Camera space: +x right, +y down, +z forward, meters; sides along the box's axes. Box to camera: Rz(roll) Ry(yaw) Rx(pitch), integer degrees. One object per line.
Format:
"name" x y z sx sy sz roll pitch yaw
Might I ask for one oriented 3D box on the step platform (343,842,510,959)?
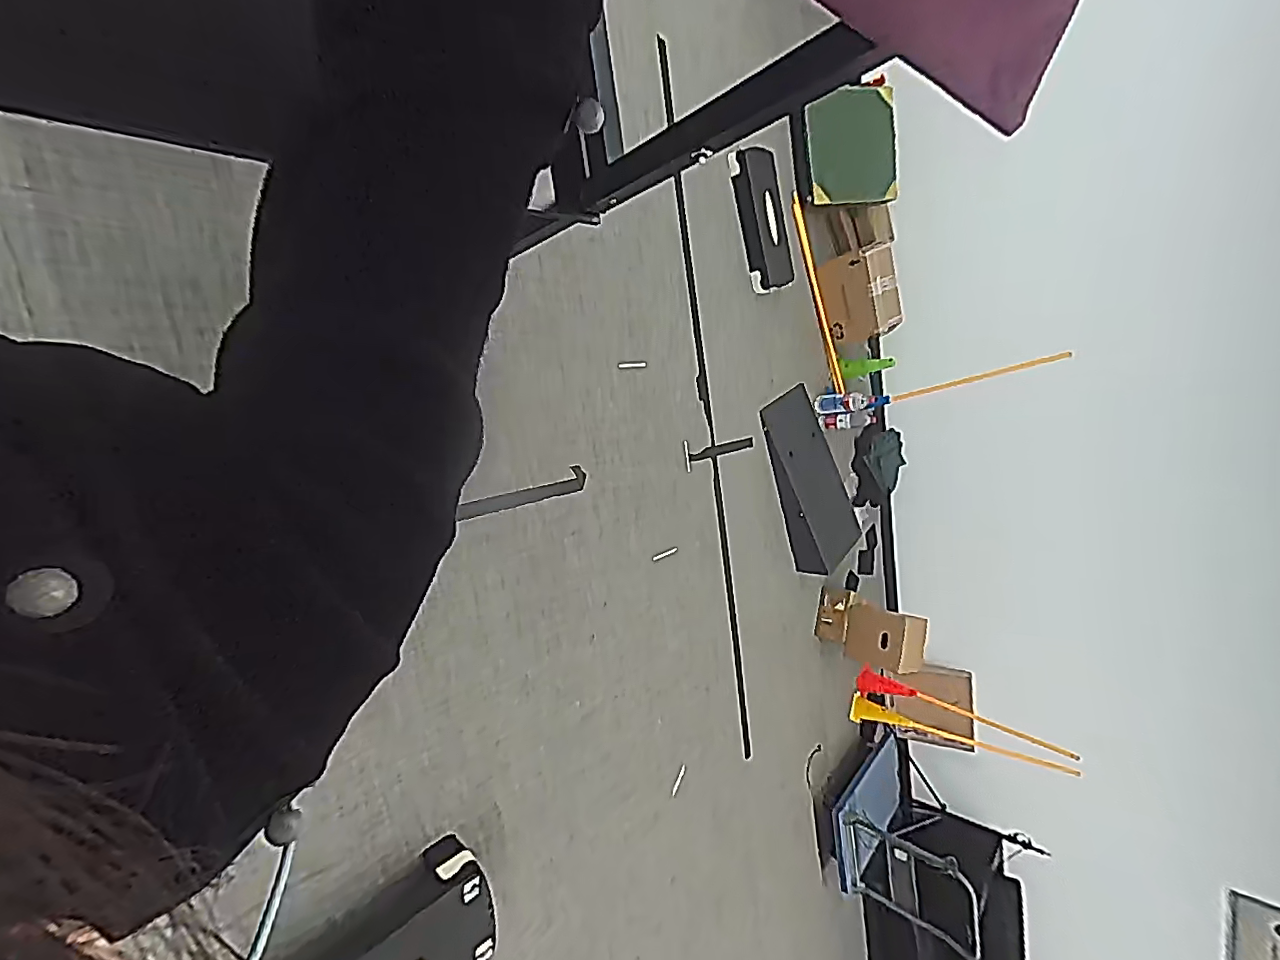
"step platform" -0.664 1.255 1.366 0.684 0.204 0.286 -8 95 -46
